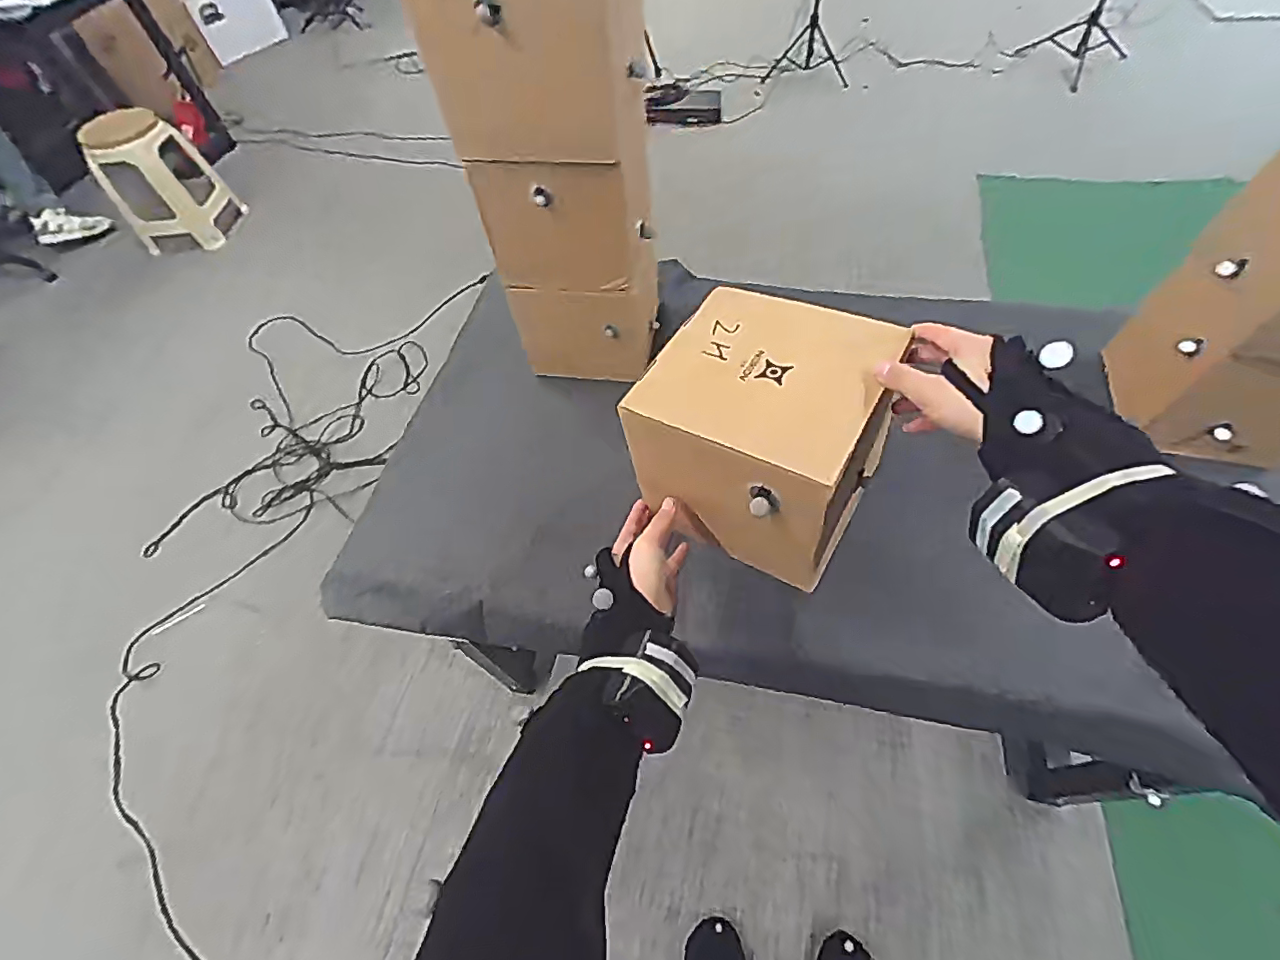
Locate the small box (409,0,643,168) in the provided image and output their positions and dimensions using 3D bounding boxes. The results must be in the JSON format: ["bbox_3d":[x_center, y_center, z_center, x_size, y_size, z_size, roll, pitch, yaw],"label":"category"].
[{"bbox_3d":[-0.098,-0.427,0.520,0.179,0.176,0.168,7,60,8],"label":"small box"}]

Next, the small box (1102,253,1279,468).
[{"bbox_3d":[0.706,-0.141,0.651,0.168,0.176,0.179,10,60,12],"label":"small box"}]

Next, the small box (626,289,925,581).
[{"bbox_3d":[0.116,-0.034,0.479,0.179,0.176,0.168,24,62,27],"label":"small box"}]

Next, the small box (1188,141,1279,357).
[{"bbox_3d":[0.689,-0.224,0.511,0.168,0.176,0.179,10,61,12],"label":"small box"}]

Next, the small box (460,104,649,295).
[{"bbox_3d":[-0.089,-0.348,0.664,0.179,0.176,0.168,5,60,7],"label":"small box"}]
